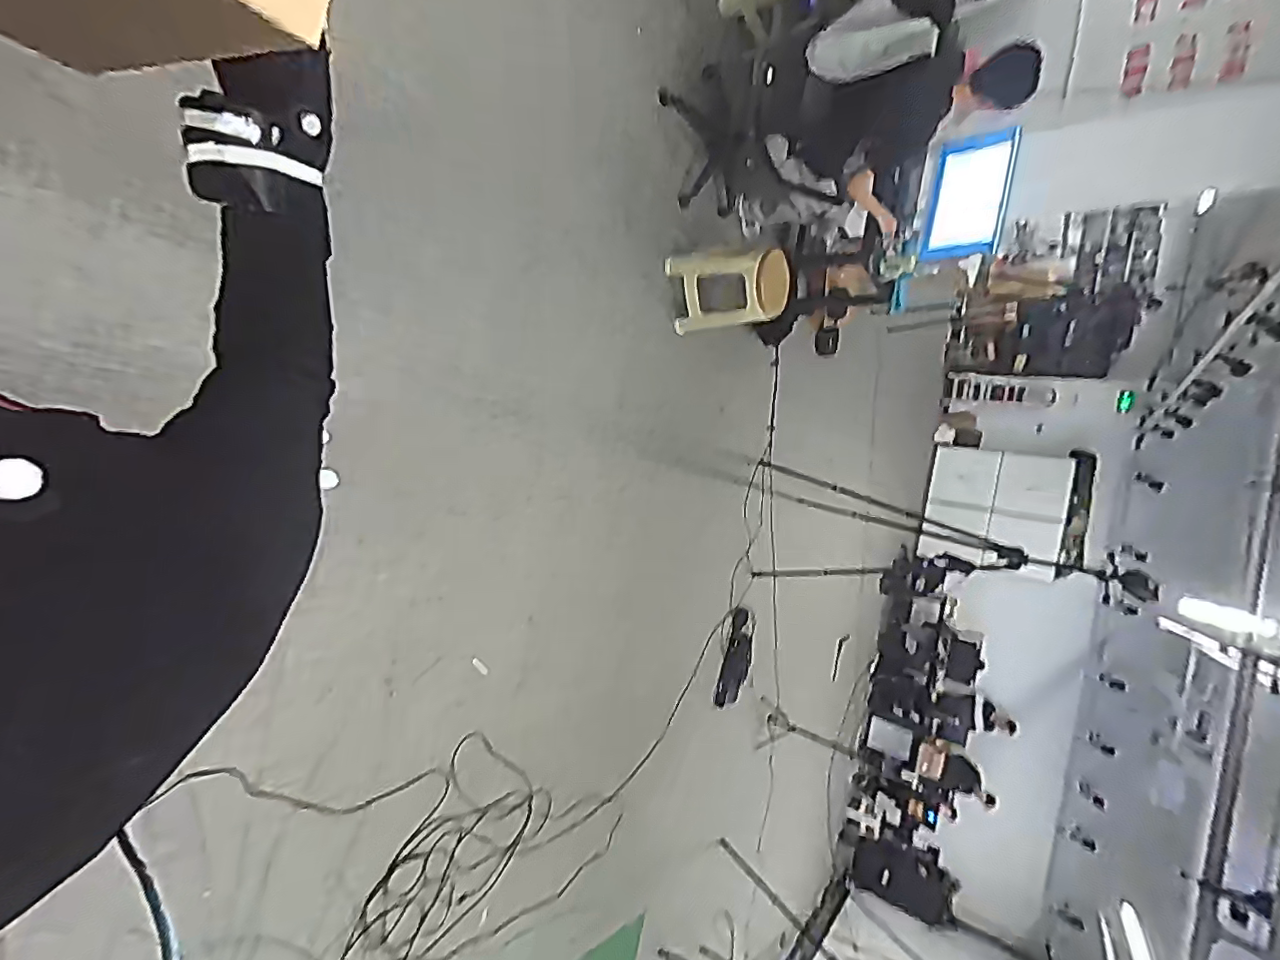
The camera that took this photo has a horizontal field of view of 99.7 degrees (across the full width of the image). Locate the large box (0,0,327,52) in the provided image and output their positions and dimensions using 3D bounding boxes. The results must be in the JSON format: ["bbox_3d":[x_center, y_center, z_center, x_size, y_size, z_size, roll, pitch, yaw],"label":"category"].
[{"bbox_3d":[-0.330,-0.402,0.128,0.408,0.320,0.320,1,108,-61],"label":"large box"}]
